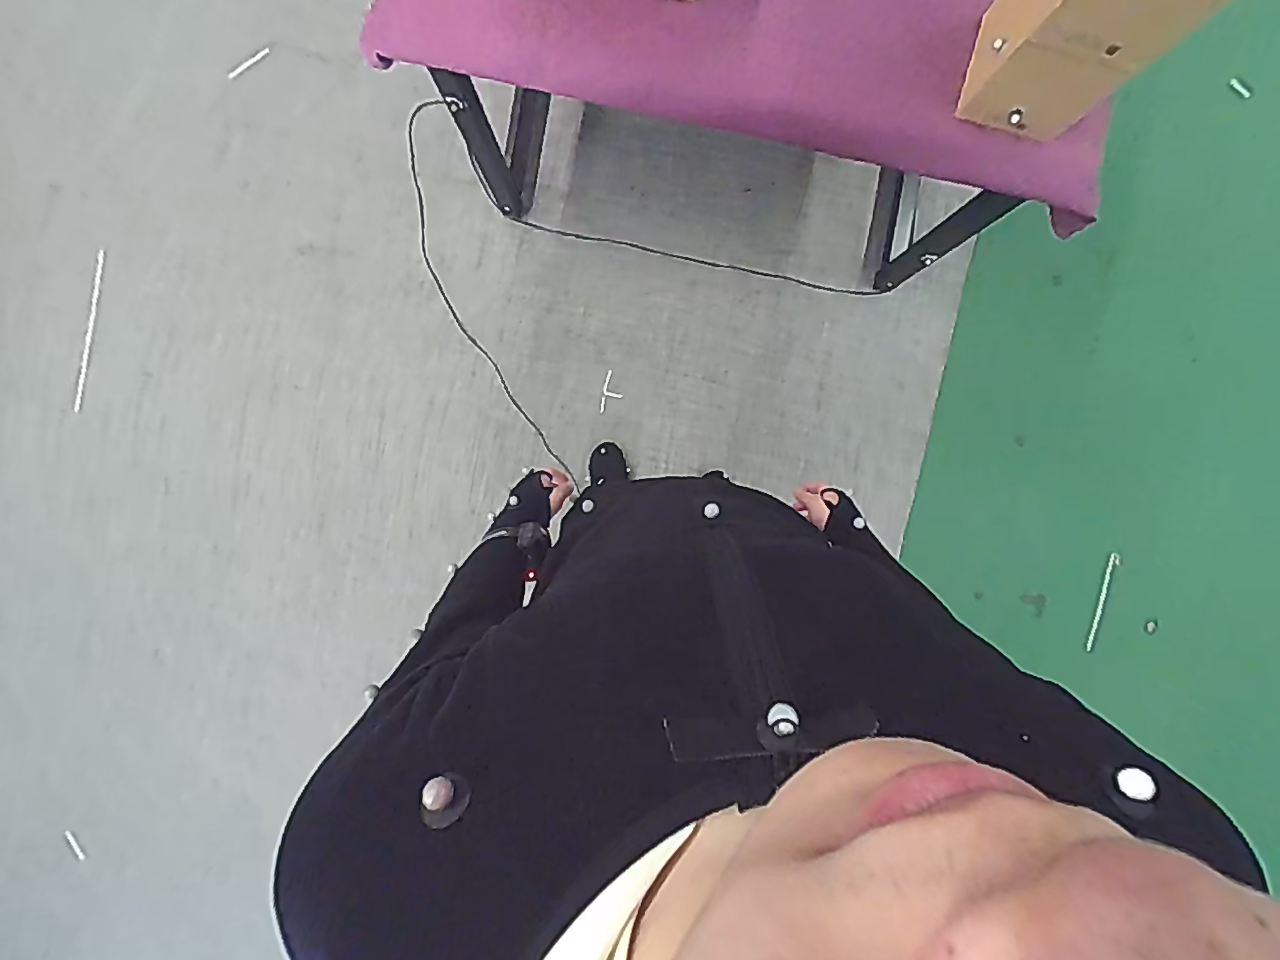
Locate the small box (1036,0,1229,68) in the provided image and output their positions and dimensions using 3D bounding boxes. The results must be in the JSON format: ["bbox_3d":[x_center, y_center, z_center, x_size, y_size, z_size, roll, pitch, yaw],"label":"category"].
[{"bbox_3d":[0.625,-0.657,0.647,0.168,0.176,0.179,16,91,0],"label":"small box"}]
